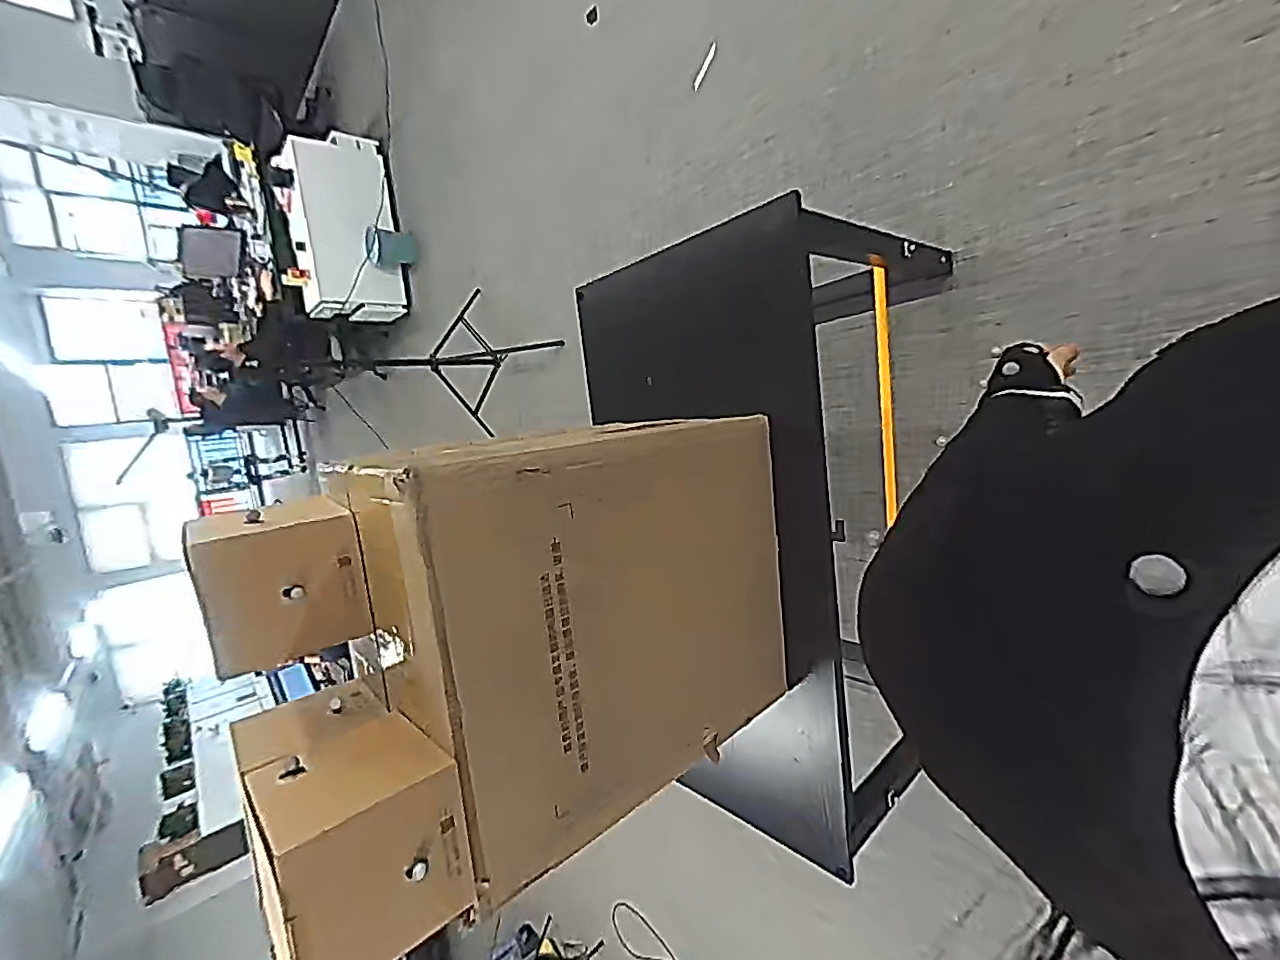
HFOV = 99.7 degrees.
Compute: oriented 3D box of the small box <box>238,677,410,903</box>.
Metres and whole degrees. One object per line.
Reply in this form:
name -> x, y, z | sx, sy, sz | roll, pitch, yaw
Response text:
small box -> -0.428, 0.402, 0.739 | 0.168, 0.176, 0.179 | 2, 100, 50
